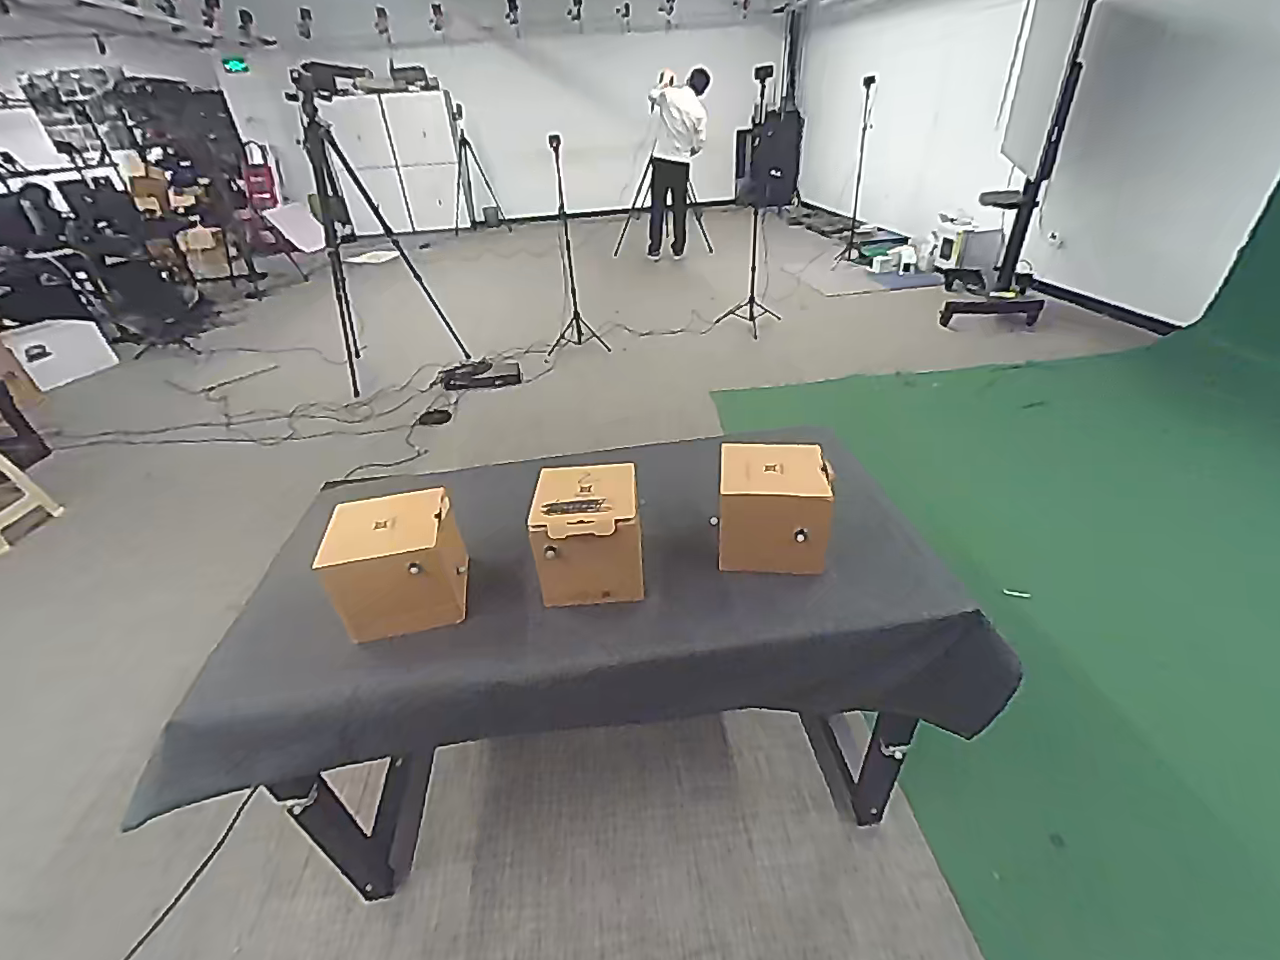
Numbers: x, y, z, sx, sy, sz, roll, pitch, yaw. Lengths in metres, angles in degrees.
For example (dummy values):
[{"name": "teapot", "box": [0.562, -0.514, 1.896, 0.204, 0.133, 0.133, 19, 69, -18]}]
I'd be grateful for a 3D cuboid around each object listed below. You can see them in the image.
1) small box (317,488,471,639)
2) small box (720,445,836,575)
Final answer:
[{"name": "small box", "box": [-0.391, 0.138, 0.893, 0.179, 0.176, 0.168, -10, 34, -10]}, {"name": "small box", "box": [0.234, 0.053, 0.956, 0.179, 0.176, 0.168, 1, 33, 9]}]
